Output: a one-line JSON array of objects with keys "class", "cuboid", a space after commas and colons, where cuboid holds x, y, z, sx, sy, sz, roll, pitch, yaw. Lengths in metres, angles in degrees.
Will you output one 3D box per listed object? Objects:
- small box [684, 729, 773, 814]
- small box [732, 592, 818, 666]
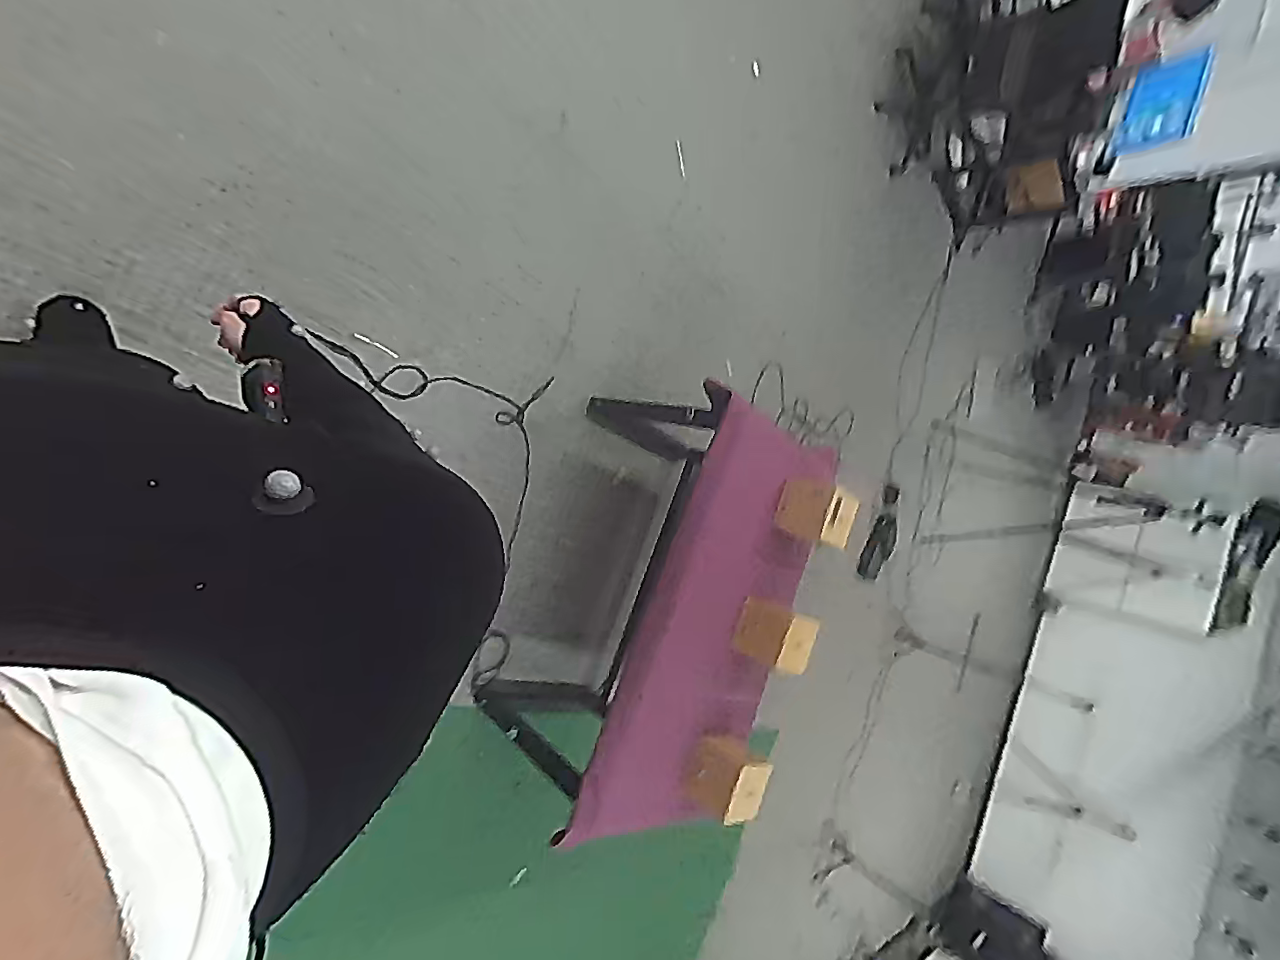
[{"class": "small box", "cuboid": [0.264, 0.868, 1.624, 0.179, 0.176, 0.168, 27, 80, -43]}, {"class": "small box", "cuboid": [0.416, 0.458, 1.672, 0.179, 0.176, 0.168, 25, 83, -42]}]
